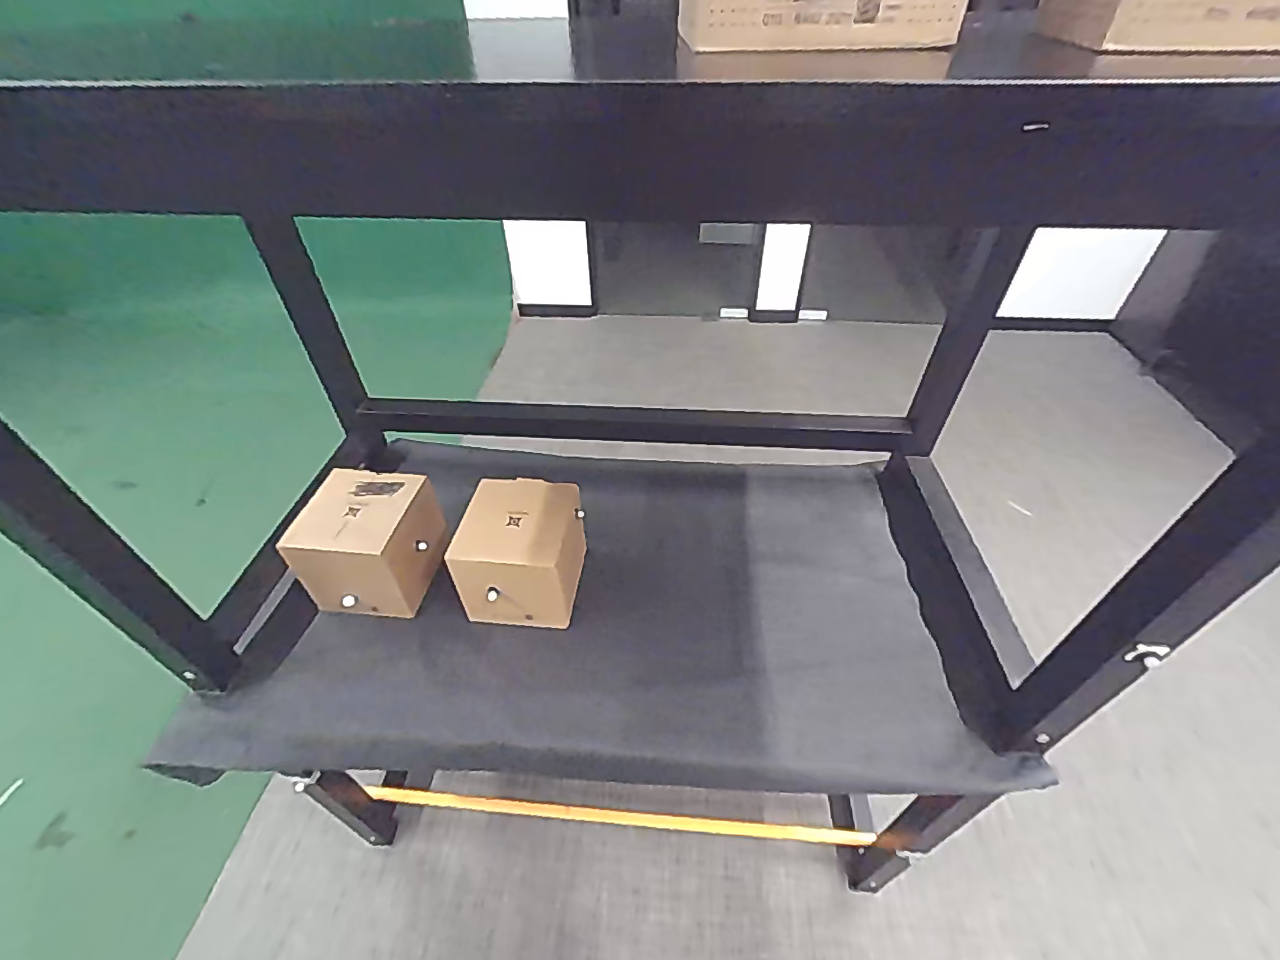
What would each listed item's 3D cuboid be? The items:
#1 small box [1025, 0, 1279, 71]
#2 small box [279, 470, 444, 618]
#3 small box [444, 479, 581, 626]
[{"bbox_3d":[0.356,-0.340,0.300,0.168,0.176,0.179,11,44,12],"label":"small box"},{"bbox_3d":[-0.447,0.106,0.907,0.168,0.176,0.179,4,43,5],"label":"small box"},{"bbox_3d":[-0.195,0.121,0.891,0.168,0.176,0.179,4,42,4],"label":"small box"}]
